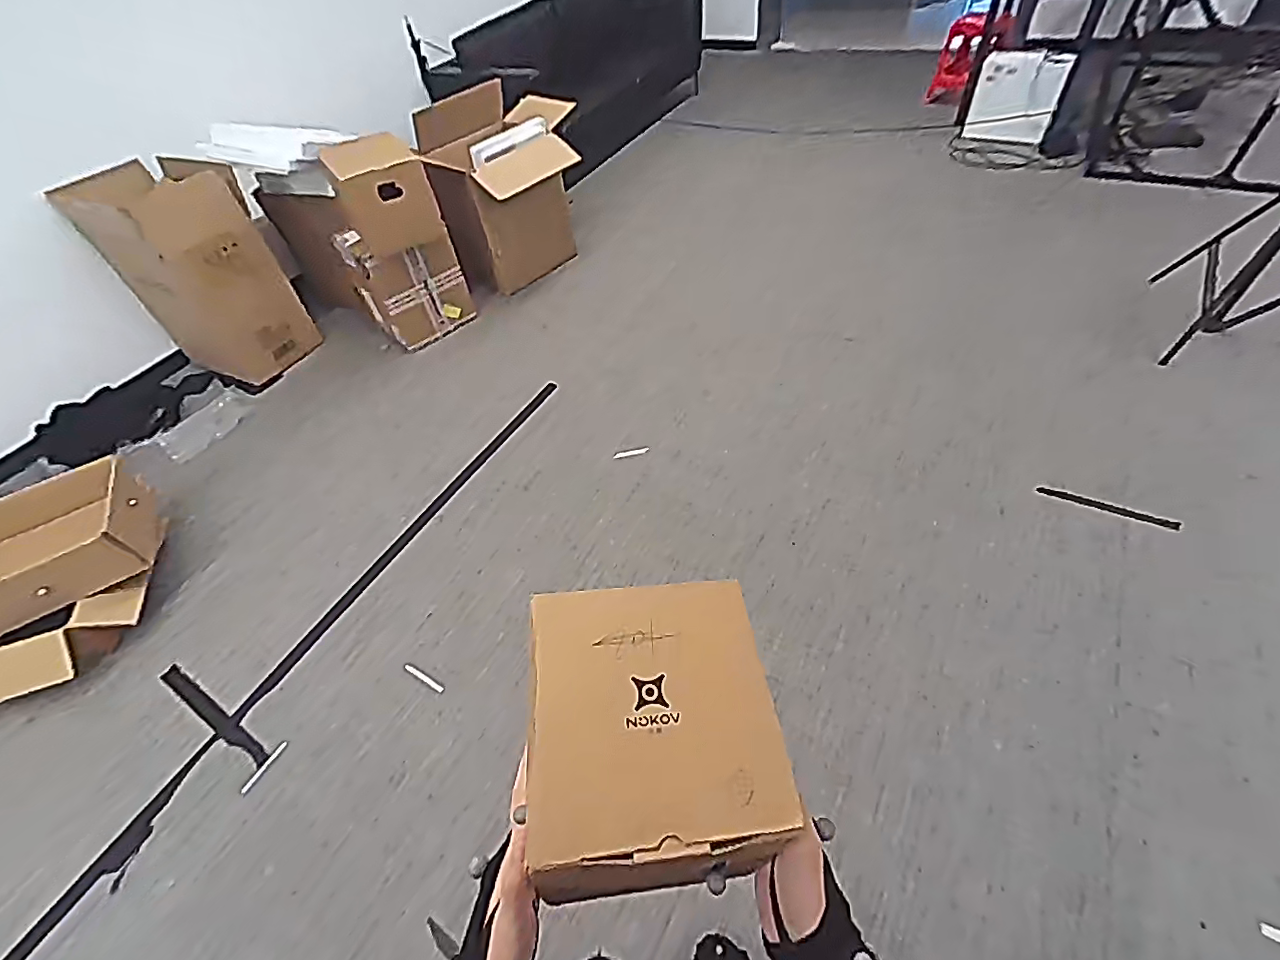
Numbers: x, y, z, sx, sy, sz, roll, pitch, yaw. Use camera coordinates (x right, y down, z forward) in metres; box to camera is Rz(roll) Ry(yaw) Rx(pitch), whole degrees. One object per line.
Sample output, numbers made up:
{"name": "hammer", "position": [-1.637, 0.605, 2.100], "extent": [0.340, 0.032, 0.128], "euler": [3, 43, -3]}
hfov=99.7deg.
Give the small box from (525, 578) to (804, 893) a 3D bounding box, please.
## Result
{"name": "small box", "position": [0.003, 0.200, 0.420], "extent": [0.168, 0.176, 0.179], "euler": [-3, 46, -8]}
